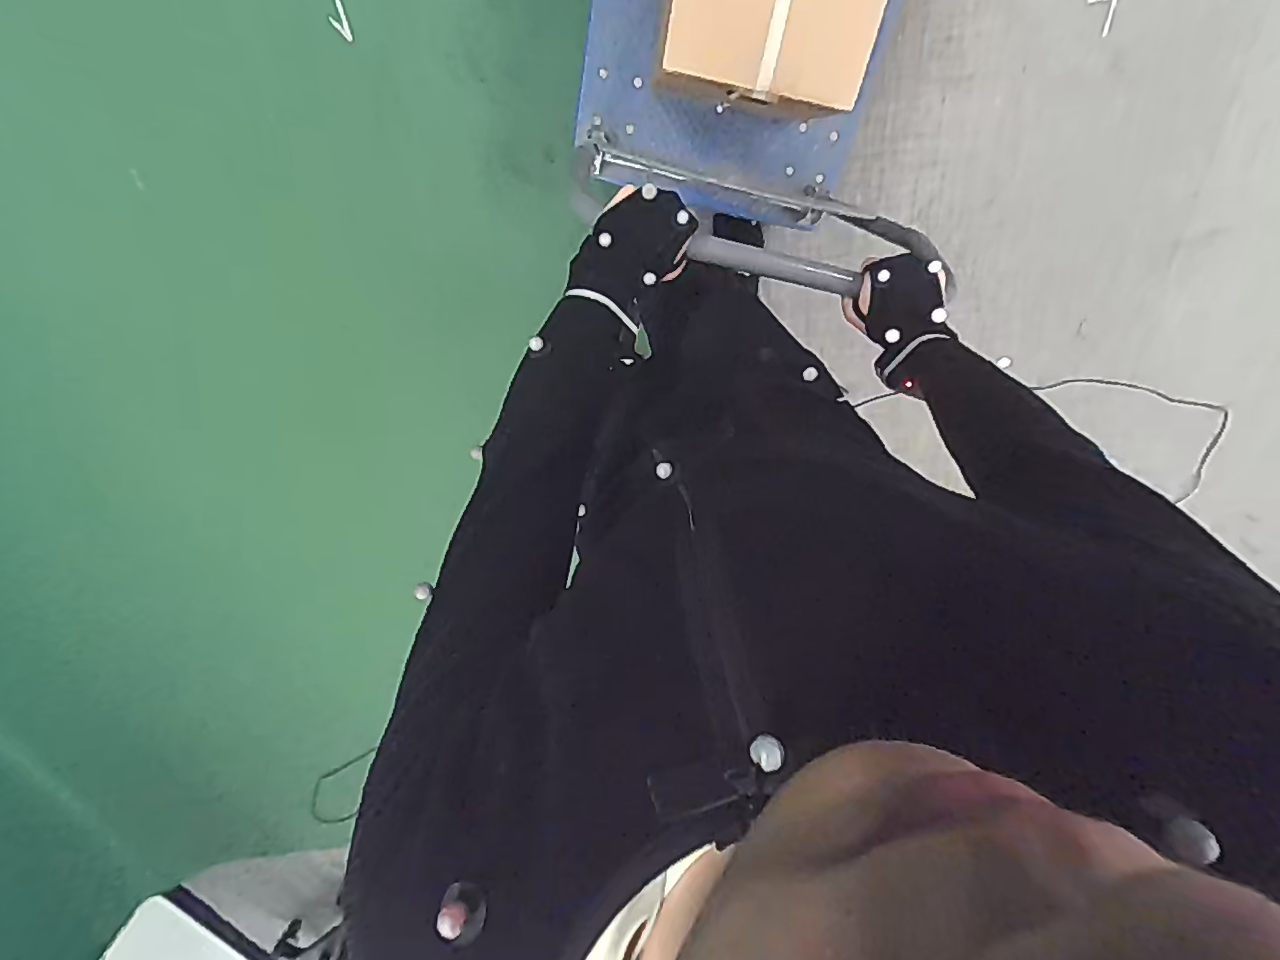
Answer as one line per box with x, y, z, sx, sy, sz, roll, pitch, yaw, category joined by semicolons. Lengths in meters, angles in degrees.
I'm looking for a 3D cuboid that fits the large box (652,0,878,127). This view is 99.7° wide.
0.205;-0.845;0.885;0.320;0.320;0.408;7;120;-8;large box
